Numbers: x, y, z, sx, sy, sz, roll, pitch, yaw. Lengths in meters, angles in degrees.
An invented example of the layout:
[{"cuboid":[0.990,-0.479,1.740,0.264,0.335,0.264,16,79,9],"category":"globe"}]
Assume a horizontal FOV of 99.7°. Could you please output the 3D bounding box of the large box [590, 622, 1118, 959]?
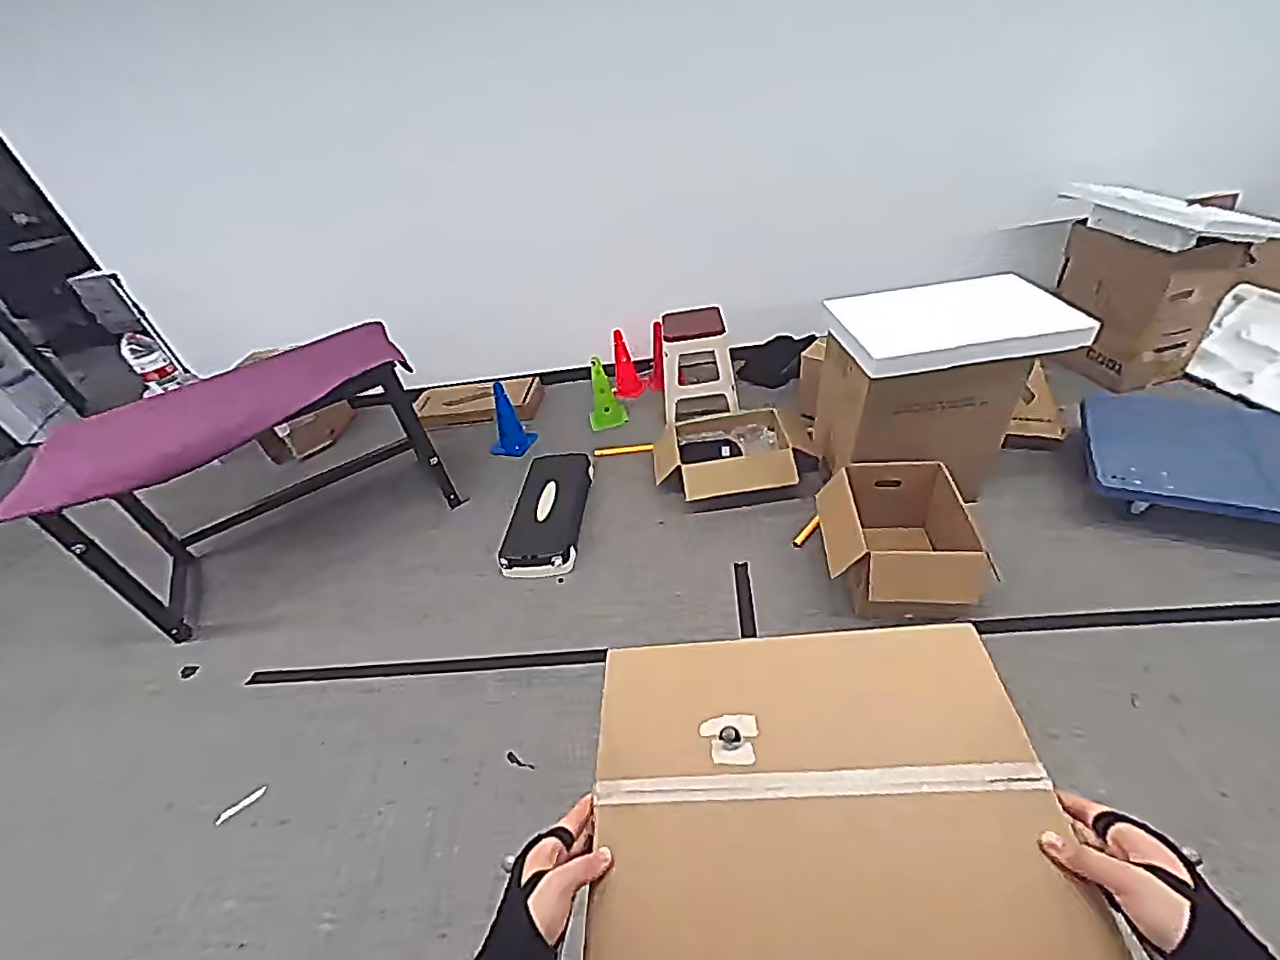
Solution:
[{"cuboid":[0.185,0.394,0.612,0.408,0.320,0.320,-8,41,9],"category":"large box"}]
